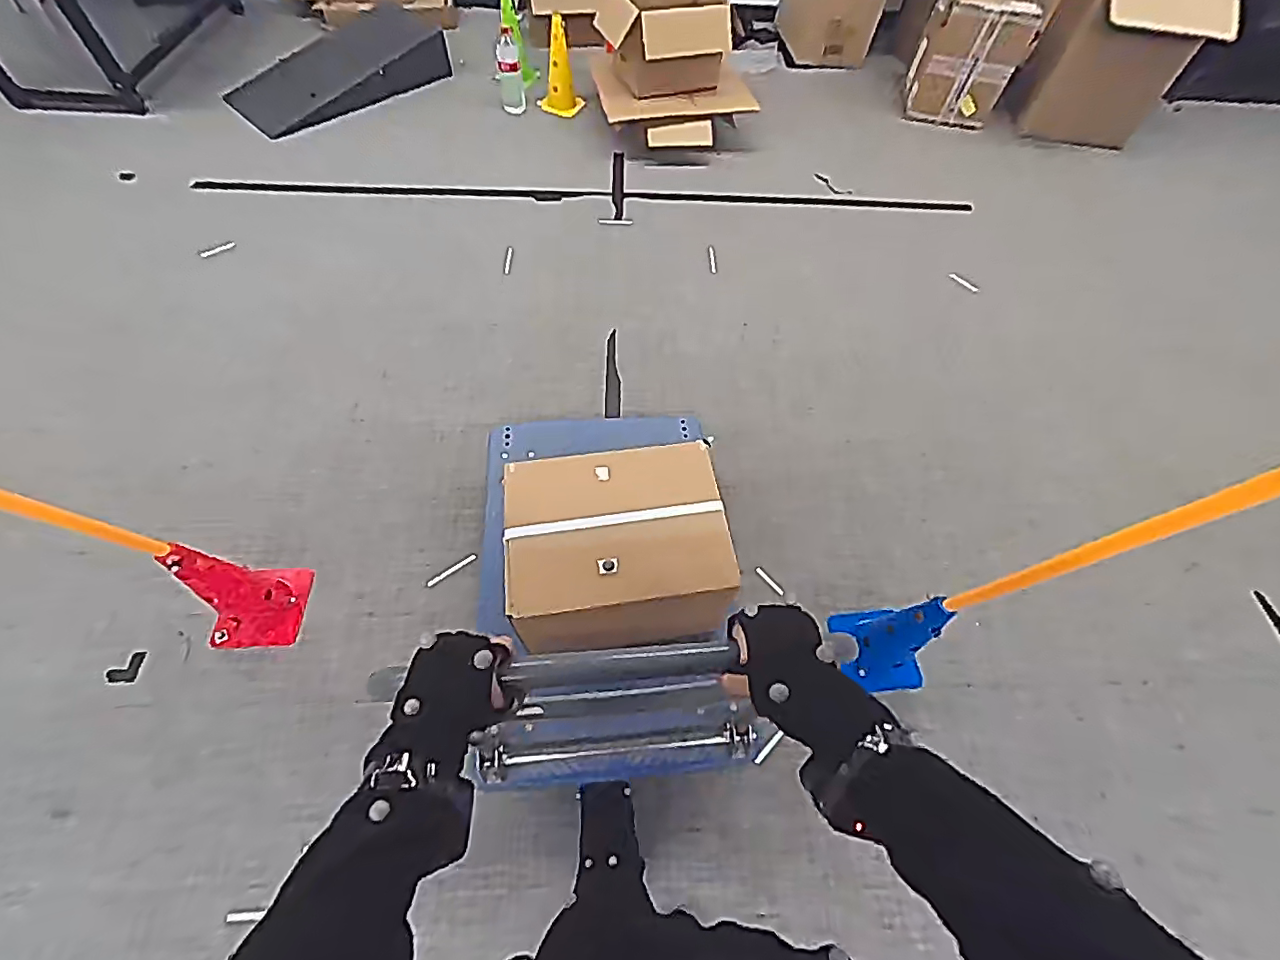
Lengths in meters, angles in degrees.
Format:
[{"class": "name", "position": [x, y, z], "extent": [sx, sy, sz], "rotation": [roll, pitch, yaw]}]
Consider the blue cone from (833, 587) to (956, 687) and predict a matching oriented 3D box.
[{"class": "blue cone", "position": [0.612, 0.338, 1.239], "extent": [0.193, 0.380, 0.192], "rotation": [-3, 58, -5]}]
